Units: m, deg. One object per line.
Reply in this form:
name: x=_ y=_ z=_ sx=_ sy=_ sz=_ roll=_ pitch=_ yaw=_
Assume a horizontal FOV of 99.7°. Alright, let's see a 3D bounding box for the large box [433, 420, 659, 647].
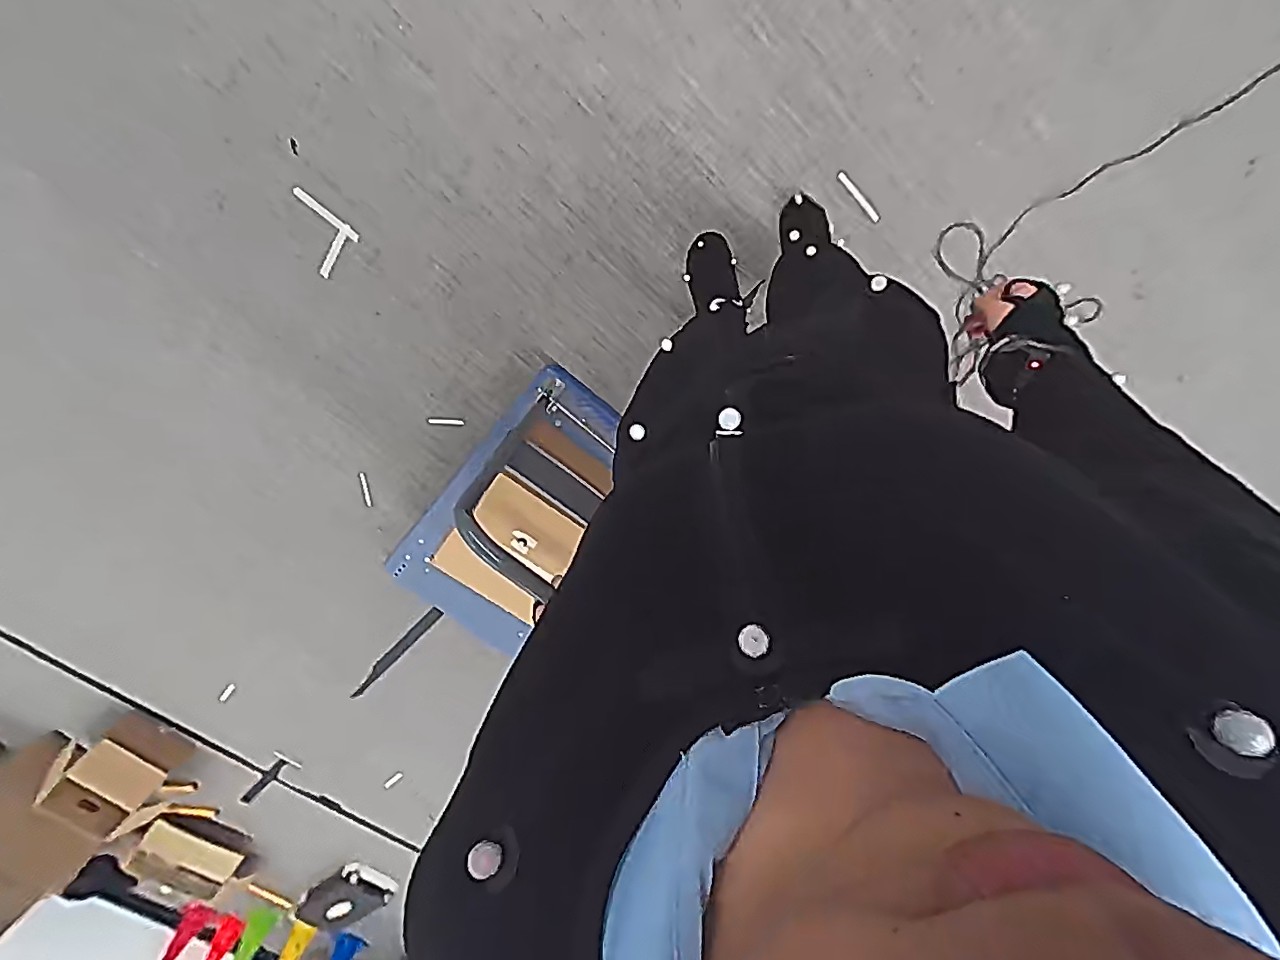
large box: x=-0.207 y=0.125 z=1.334 sx=0.408 sy=0.320 sz=0.320 roll=36 pitch=115 yaw=-12
